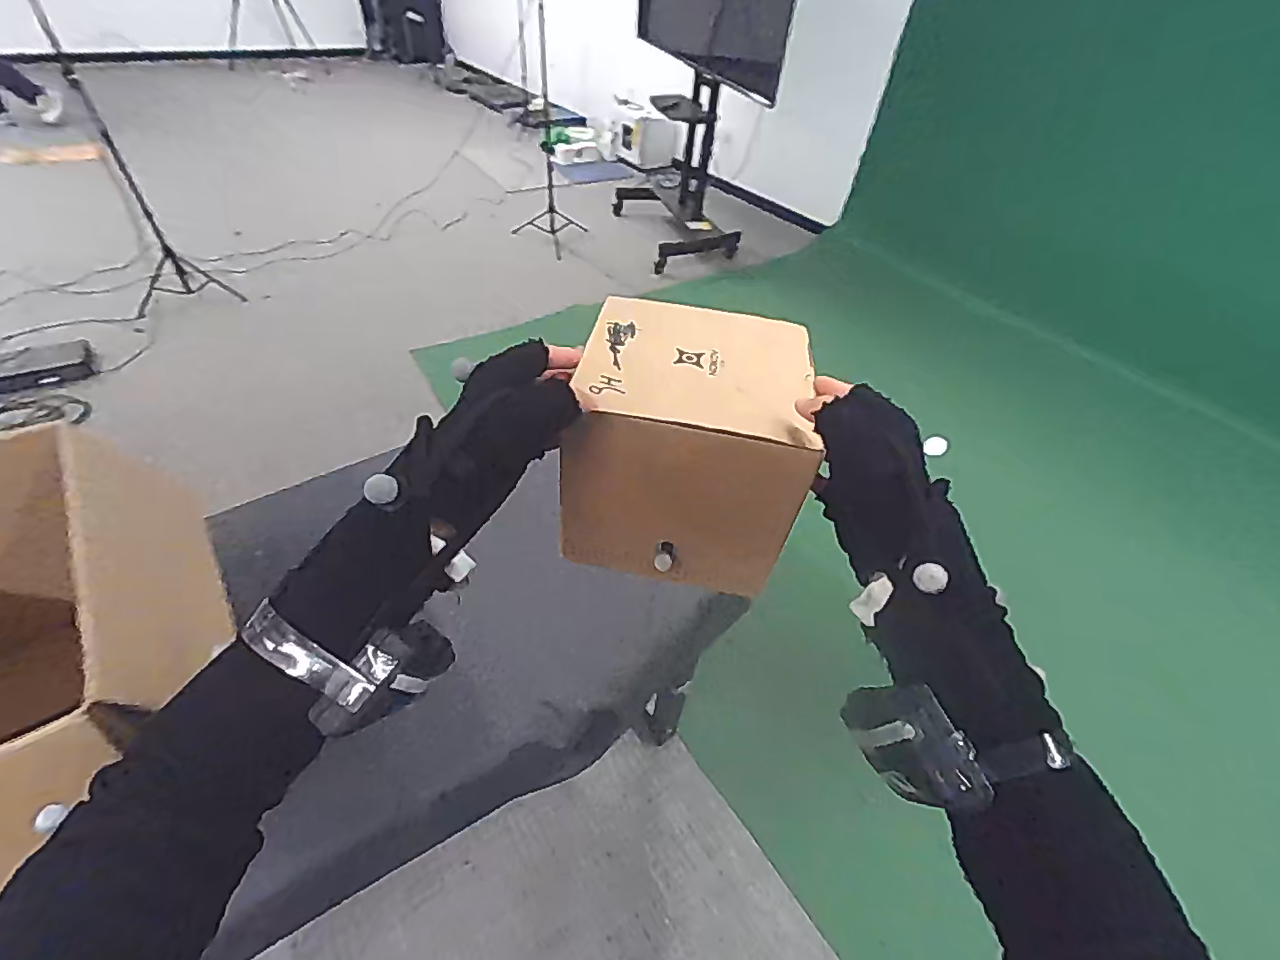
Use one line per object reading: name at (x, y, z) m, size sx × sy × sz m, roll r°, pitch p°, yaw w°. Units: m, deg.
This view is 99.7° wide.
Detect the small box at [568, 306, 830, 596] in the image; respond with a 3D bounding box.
small box at (0.044, -0.022, 0.467) m, size 0.179 × 0.176 × 0.168 m, roll 11°, pitch 43°, yaw 2°
